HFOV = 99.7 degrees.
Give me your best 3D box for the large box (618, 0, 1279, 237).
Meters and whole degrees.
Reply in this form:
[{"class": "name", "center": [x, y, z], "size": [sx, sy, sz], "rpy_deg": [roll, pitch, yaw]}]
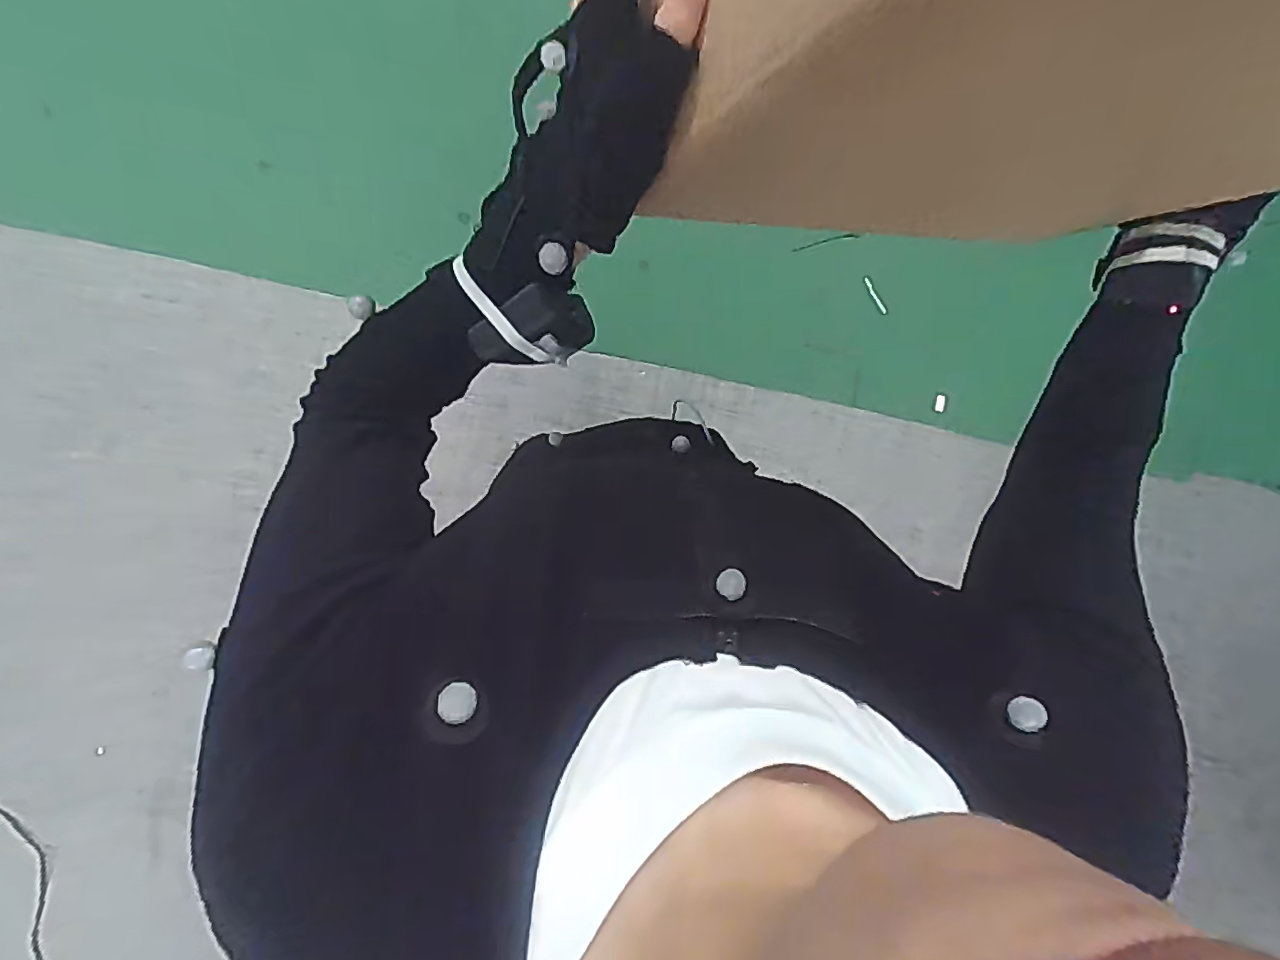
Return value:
[{"class": "large box", "center": [0.221, -0.321, 0.260], "size": [0.408, 0.320, 0.320], "rpy_deg": [-7, 103, -23]}]
